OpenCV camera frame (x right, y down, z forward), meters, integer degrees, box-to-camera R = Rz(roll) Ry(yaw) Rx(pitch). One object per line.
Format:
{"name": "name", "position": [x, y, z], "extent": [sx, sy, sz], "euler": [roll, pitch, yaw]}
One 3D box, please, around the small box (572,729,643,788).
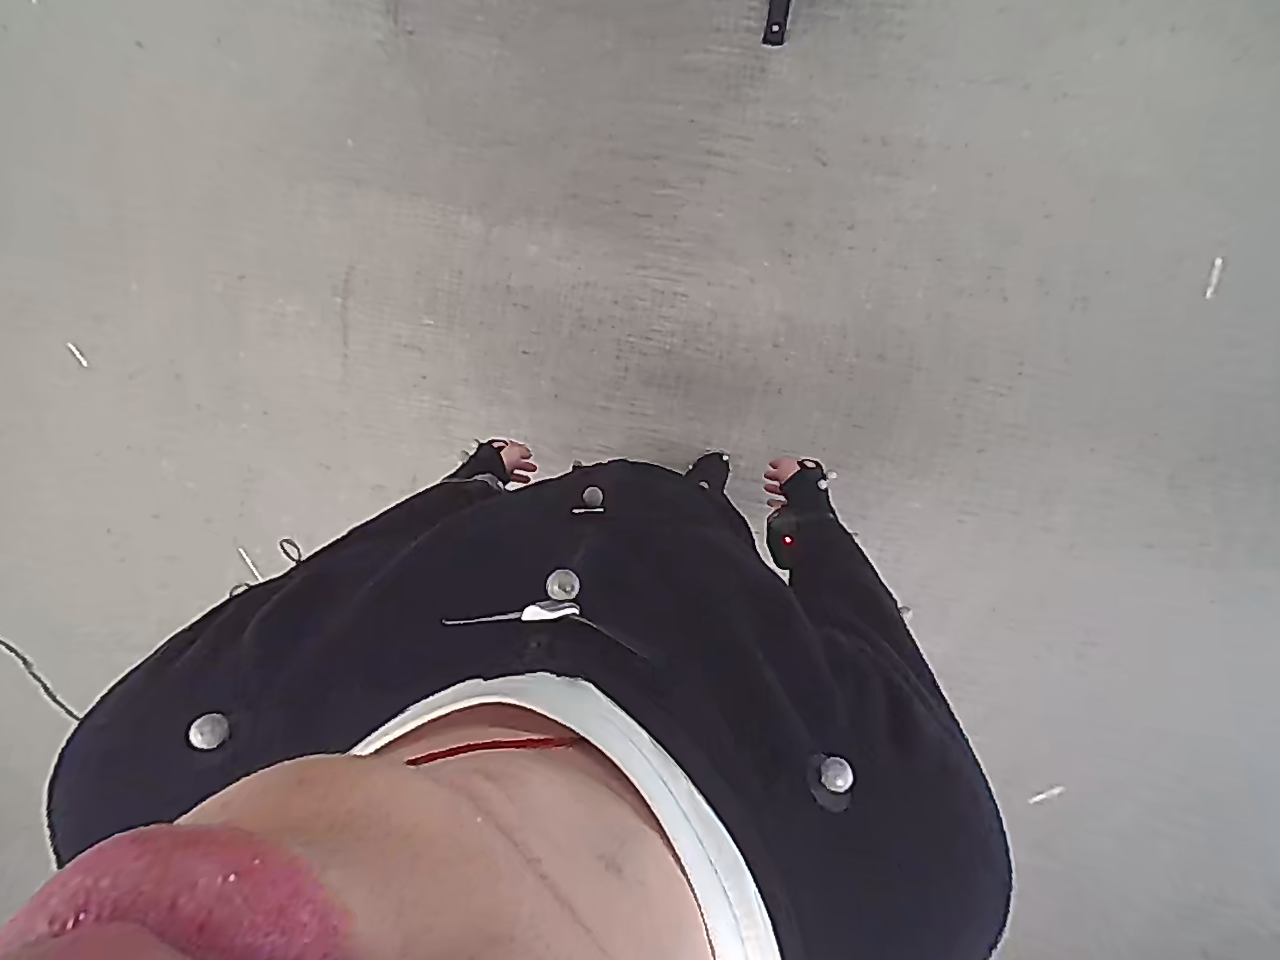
{"name": "small box", "position": [-0.096, 0.851, 1.568], "extent": [0.179, 0.176, 0.168], "euler": [11, 95, 3]}

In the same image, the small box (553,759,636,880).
{"name": "small box", "position": [-0.109, 0.860, 1.382], "extent": [0.168, 0.176, 0.179], "euler": [15, 96, 1]}
